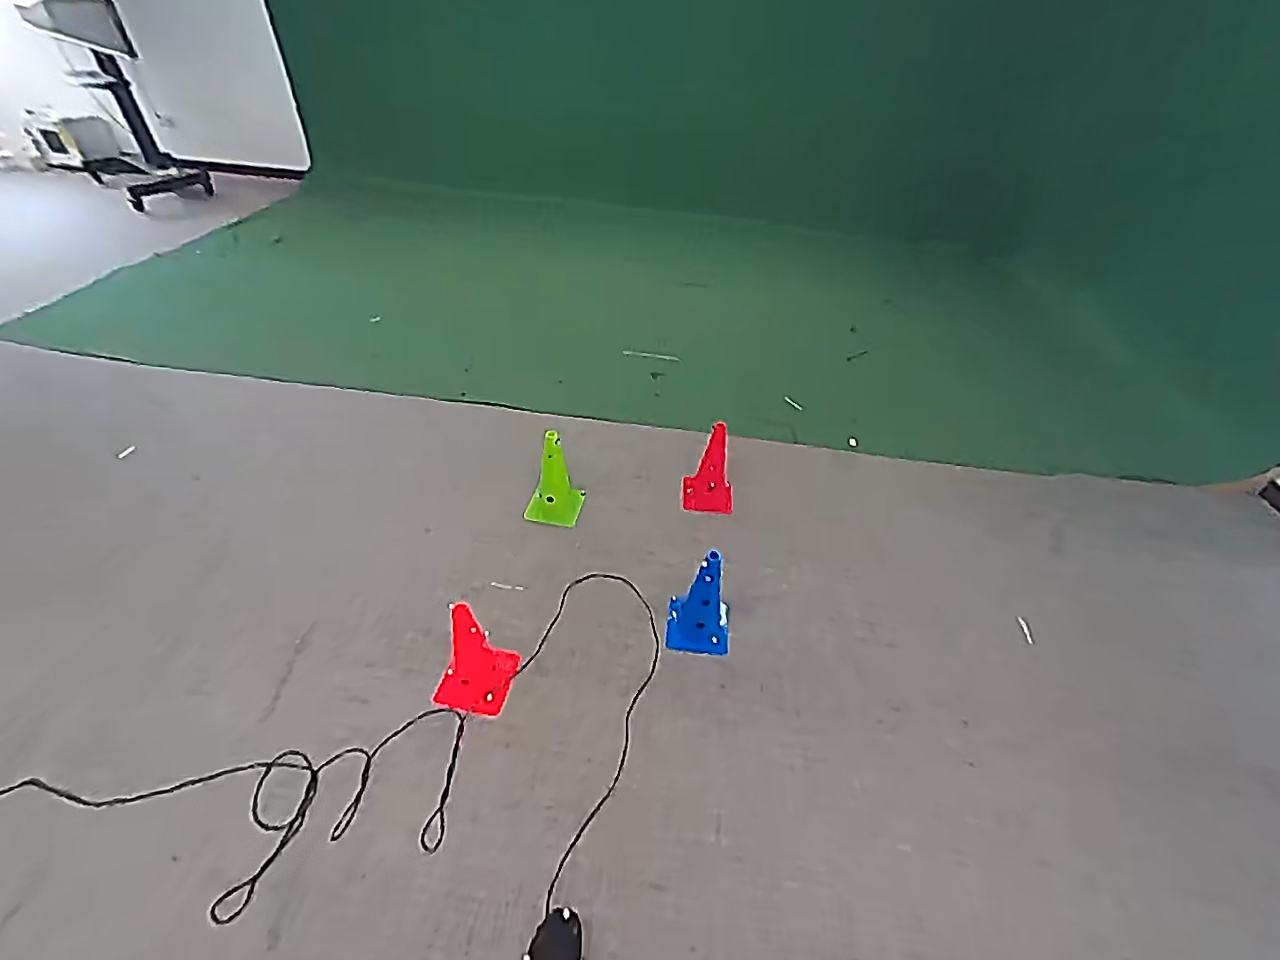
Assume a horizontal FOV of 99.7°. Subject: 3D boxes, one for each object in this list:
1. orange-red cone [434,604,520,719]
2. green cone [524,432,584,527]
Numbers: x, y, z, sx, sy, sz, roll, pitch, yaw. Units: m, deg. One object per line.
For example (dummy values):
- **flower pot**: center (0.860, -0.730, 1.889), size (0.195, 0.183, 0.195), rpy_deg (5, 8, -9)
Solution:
- **orange-red cone**: center (-0.455, 0.452, 1.457), size (0.198, 0.360, 0.199), rpy_deg (11, 41, 6)
- **green cone**: center (-0.324, -0.027, 1.994), size (0.200, 0.368, 0.202), rpy_deg (9, 43, 5)
